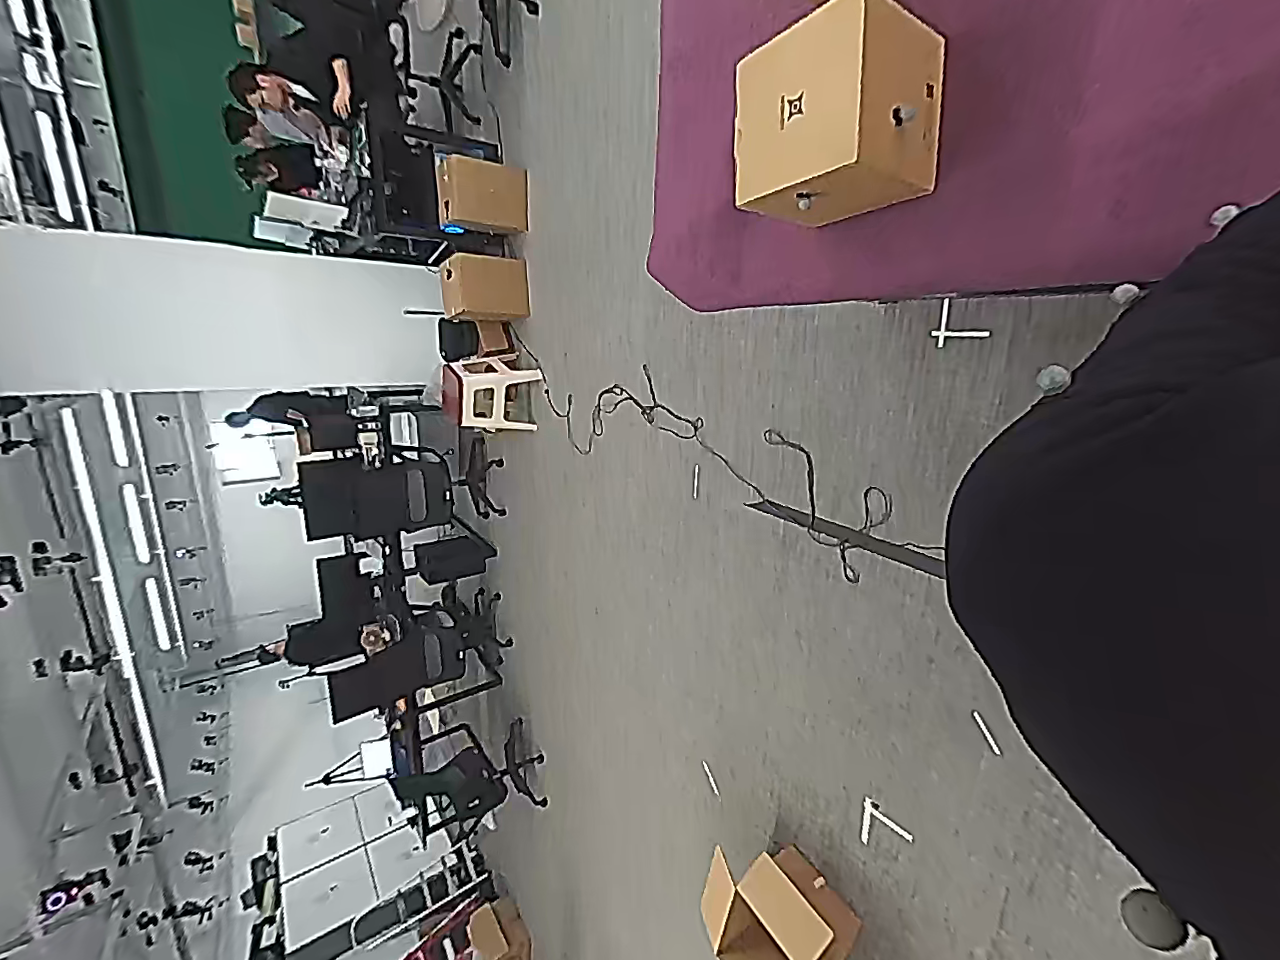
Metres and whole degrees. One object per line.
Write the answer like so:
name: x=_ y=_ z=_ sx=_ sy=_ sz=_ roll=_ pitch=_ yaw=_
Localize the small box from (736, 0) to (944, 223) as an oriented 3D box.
small box: x=0.236 y=-0.423 z=0.647 sx=0.179 sy=0.176 sz=0.168 roll=12 pitch=107 yaw=54
